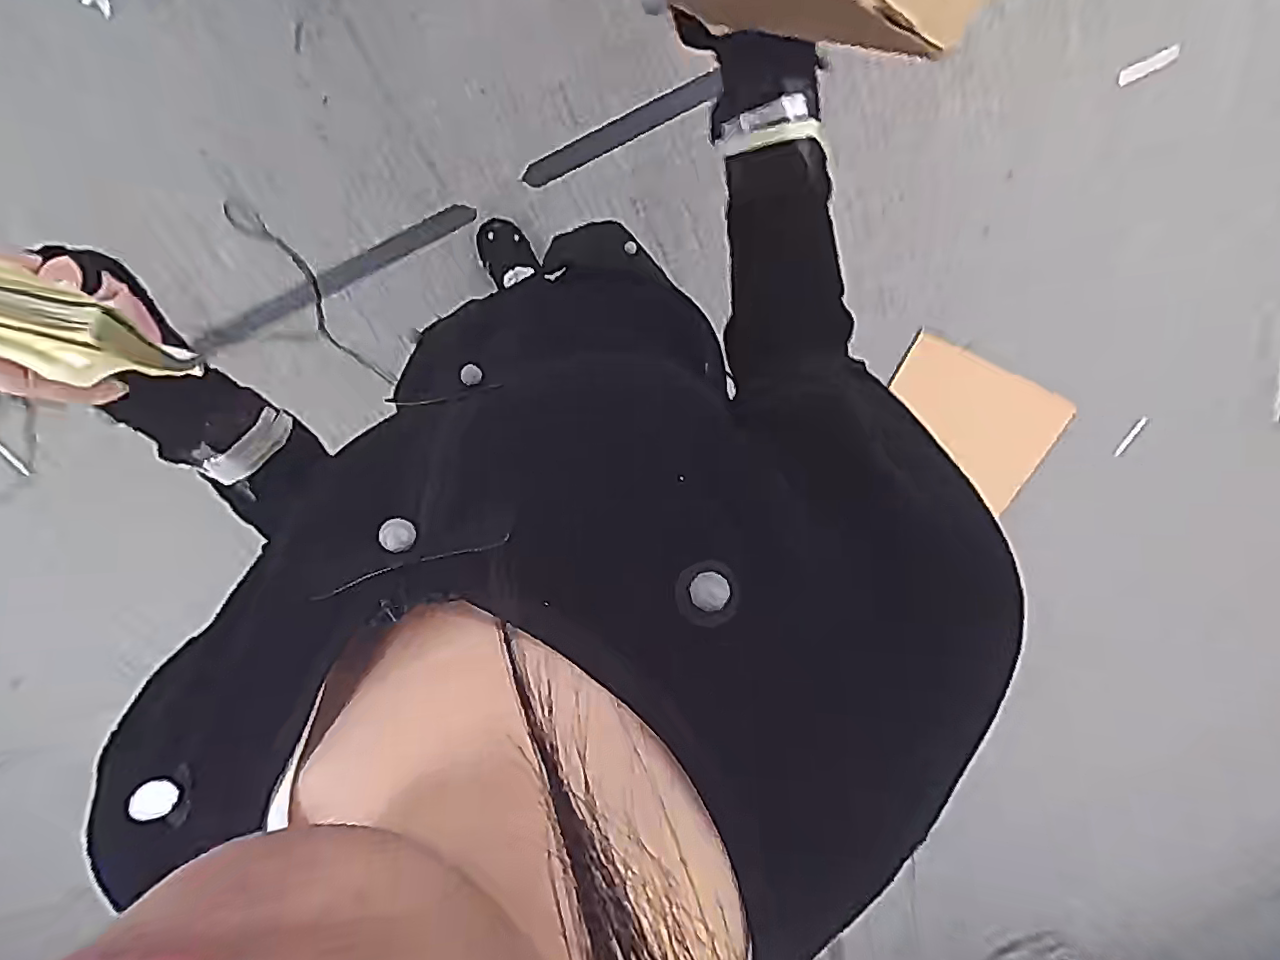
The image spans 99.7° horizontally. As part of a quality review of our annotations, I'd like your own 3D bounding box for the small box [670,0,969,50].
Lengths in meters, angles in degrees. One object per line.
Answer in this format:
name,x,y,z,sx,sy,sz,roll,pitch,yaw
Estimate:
small box,0.048,-0.292,0.185,0.168,0.176,0.179,-9,133,-38
